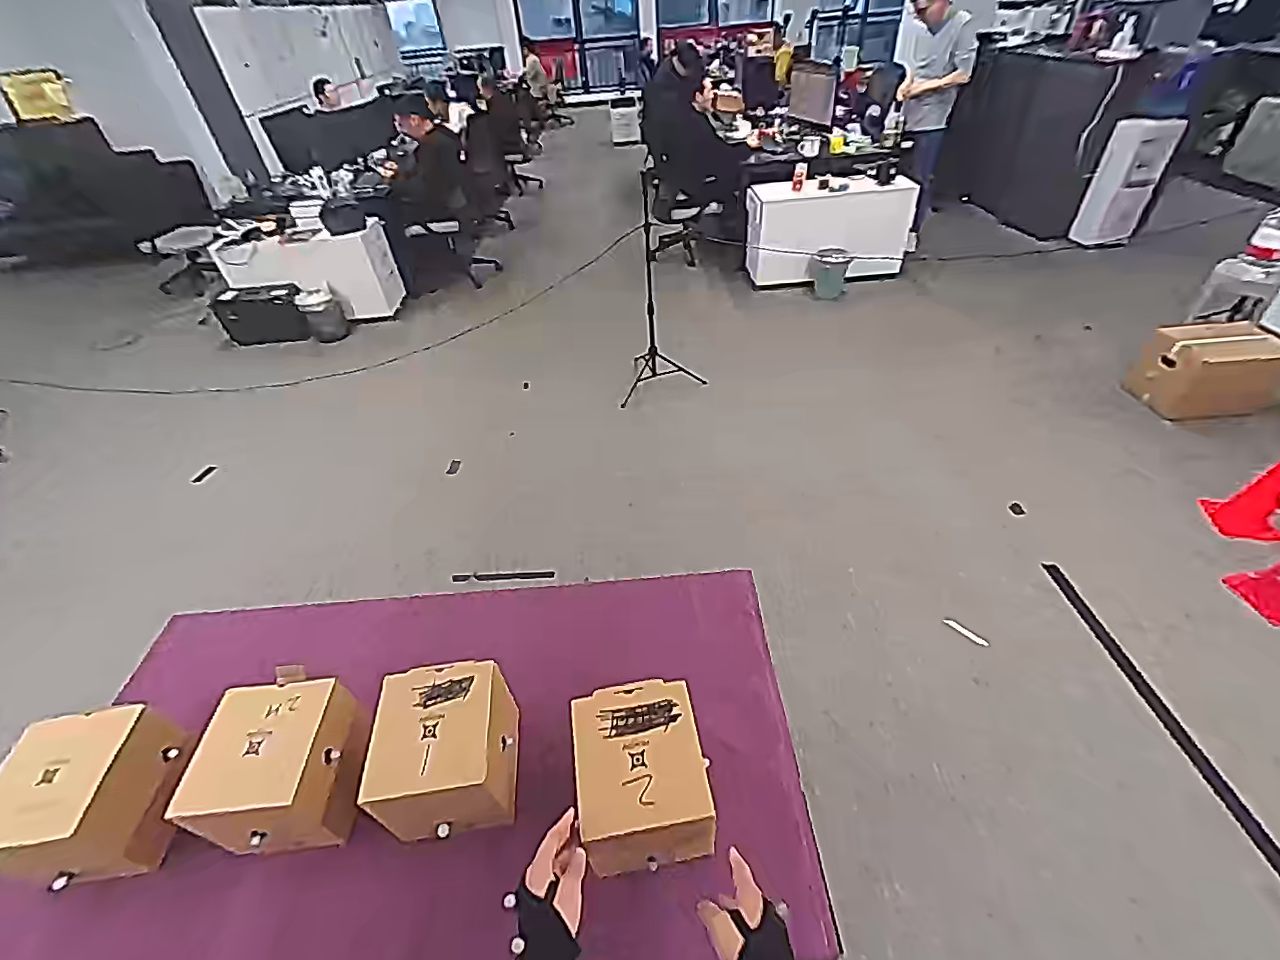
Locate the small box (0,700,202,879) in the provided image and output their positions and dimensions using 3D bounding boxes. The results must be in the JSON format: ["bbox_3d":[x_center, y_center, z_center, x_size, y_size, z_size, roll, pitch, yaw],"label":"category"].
[{"bbox_3d":[-0.795,0.455,0.798,0.168,0.176,0.179,-7,42,-2],"label":"small box"}]

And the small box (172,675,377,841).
[{"bbox_3d":[-0.523,0.420,0.810,0.168,0.176,0.179,-5,42,0],"label":"small box"}]

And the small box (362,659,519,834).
[{"bbox_3d":[-0.282,0.398,0.812,0.168,0.176,0.179,-8,43,-3],"label":"small box"}]
